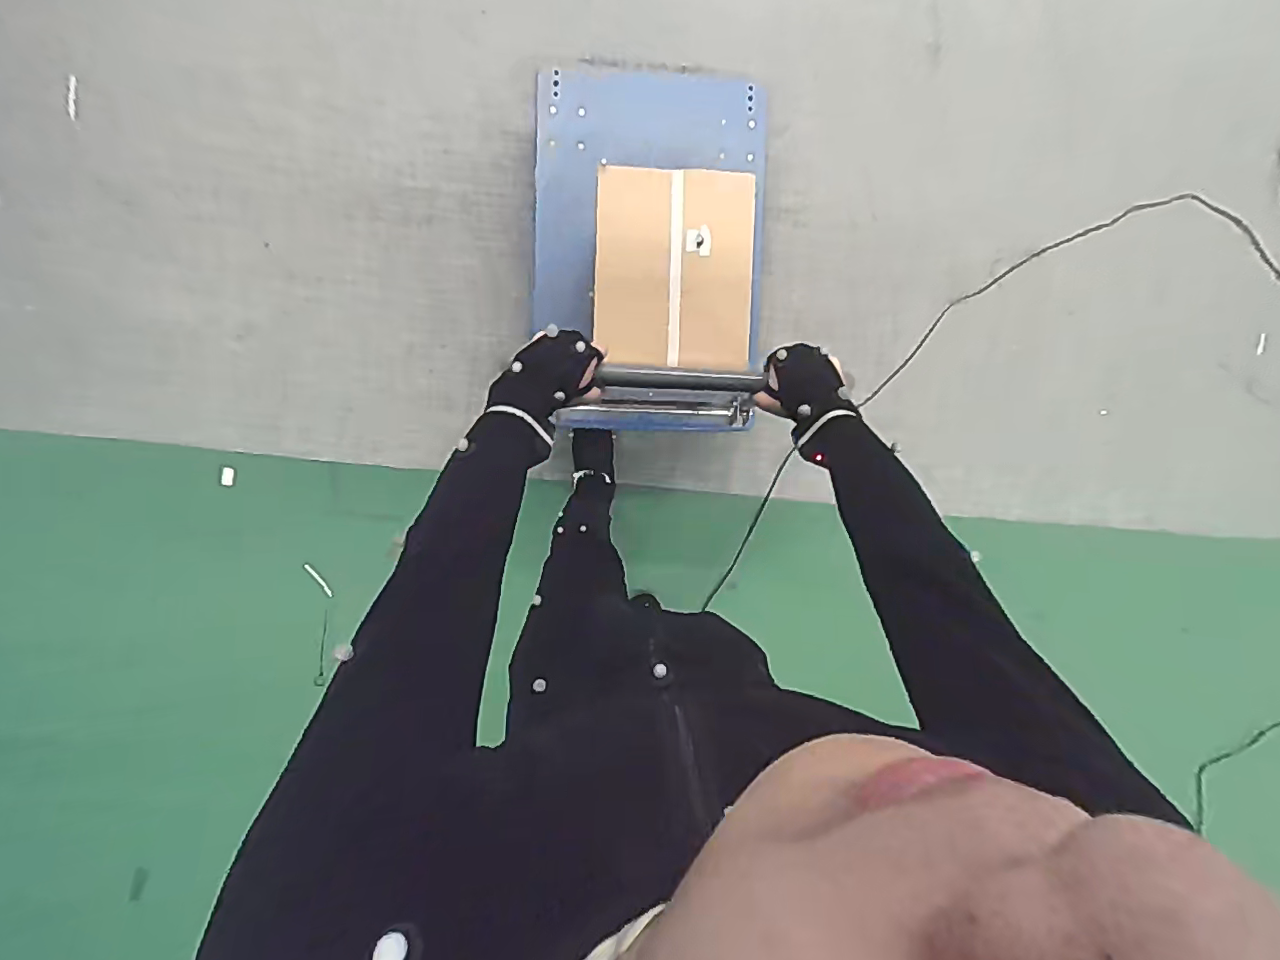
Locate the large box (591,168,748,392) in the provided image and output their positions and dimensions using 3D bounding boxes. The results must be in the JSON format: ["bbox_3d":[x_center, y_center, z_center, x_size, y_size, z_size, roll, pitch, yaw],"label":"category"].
[{"bbox_3d":[0.053,-0.415,1.220,0.320,0.320,0.408,1,93,-4],"label":"large box"}]
